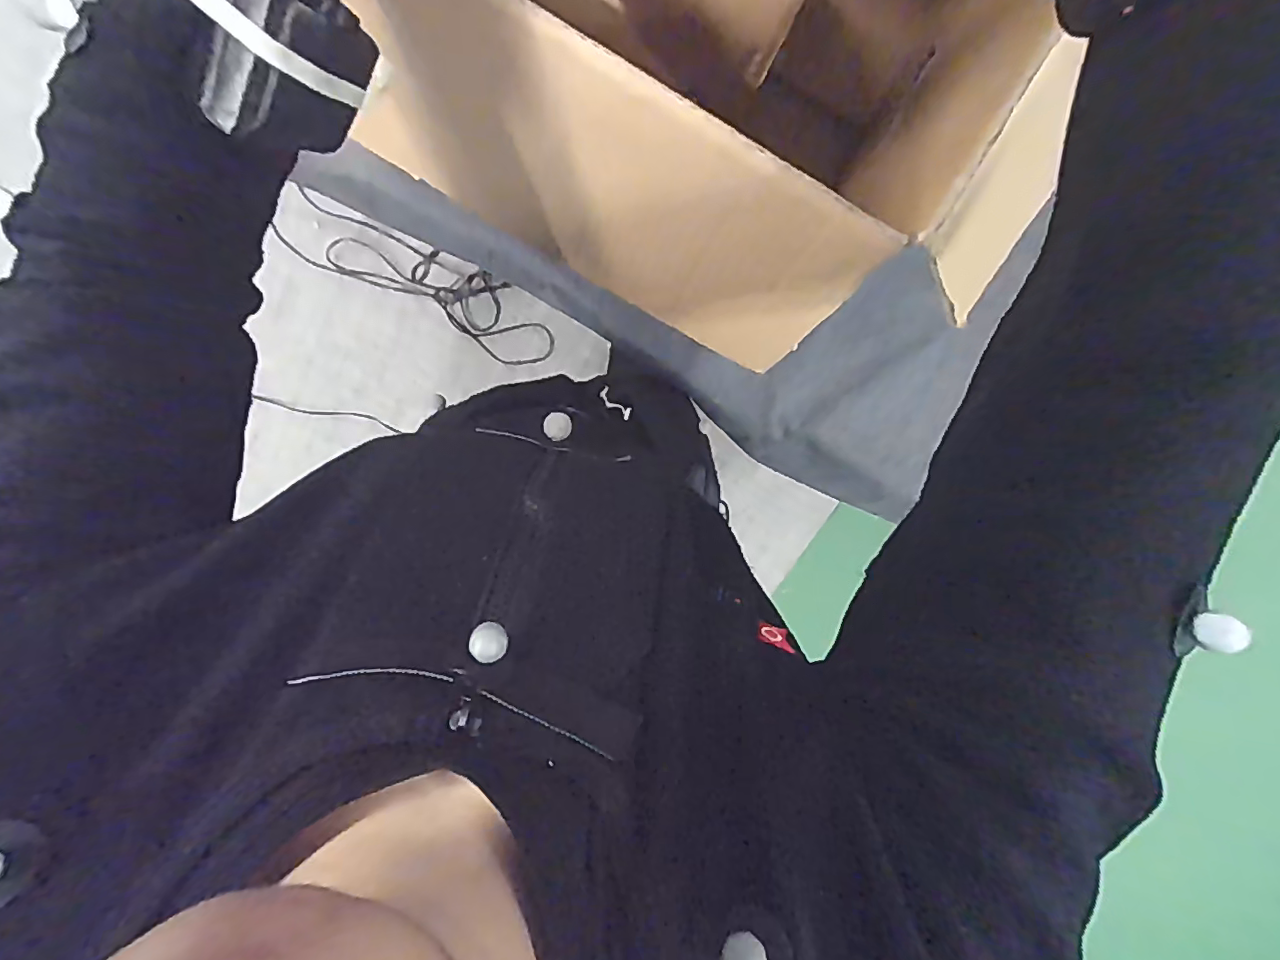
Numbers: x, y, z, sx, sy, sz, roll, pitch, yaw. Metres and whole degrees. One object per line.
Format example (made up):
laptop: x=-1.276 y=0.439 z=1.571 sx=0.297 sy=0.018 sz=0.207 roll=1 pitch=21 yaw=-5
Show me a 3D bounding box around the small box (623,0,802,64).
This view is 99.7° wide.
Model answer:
small box: x=0.042 y=-0.347 z=0.256 sx=0.179 sy=0.176 sz=0.168 roll=28 pitch=104 yaw=-8
